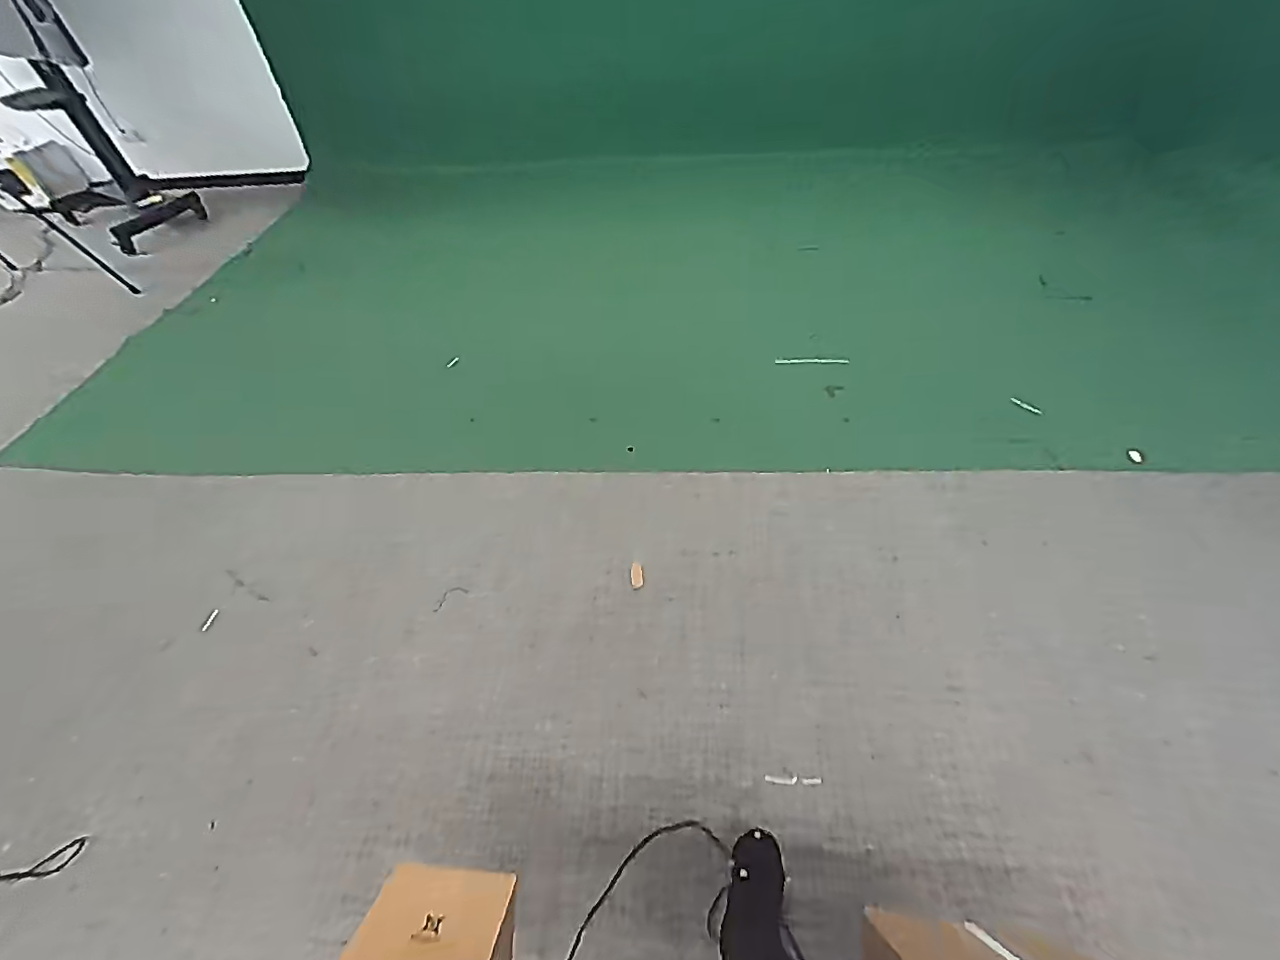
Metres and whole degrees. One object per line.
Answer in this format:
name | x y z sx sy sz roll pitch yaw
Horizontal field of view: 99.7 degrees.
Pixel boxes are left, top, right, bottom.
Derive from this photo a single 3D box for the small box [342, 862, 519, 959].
small box | -0.254 0.618 0.660 0.168 0.176 0.179 4 4 2
